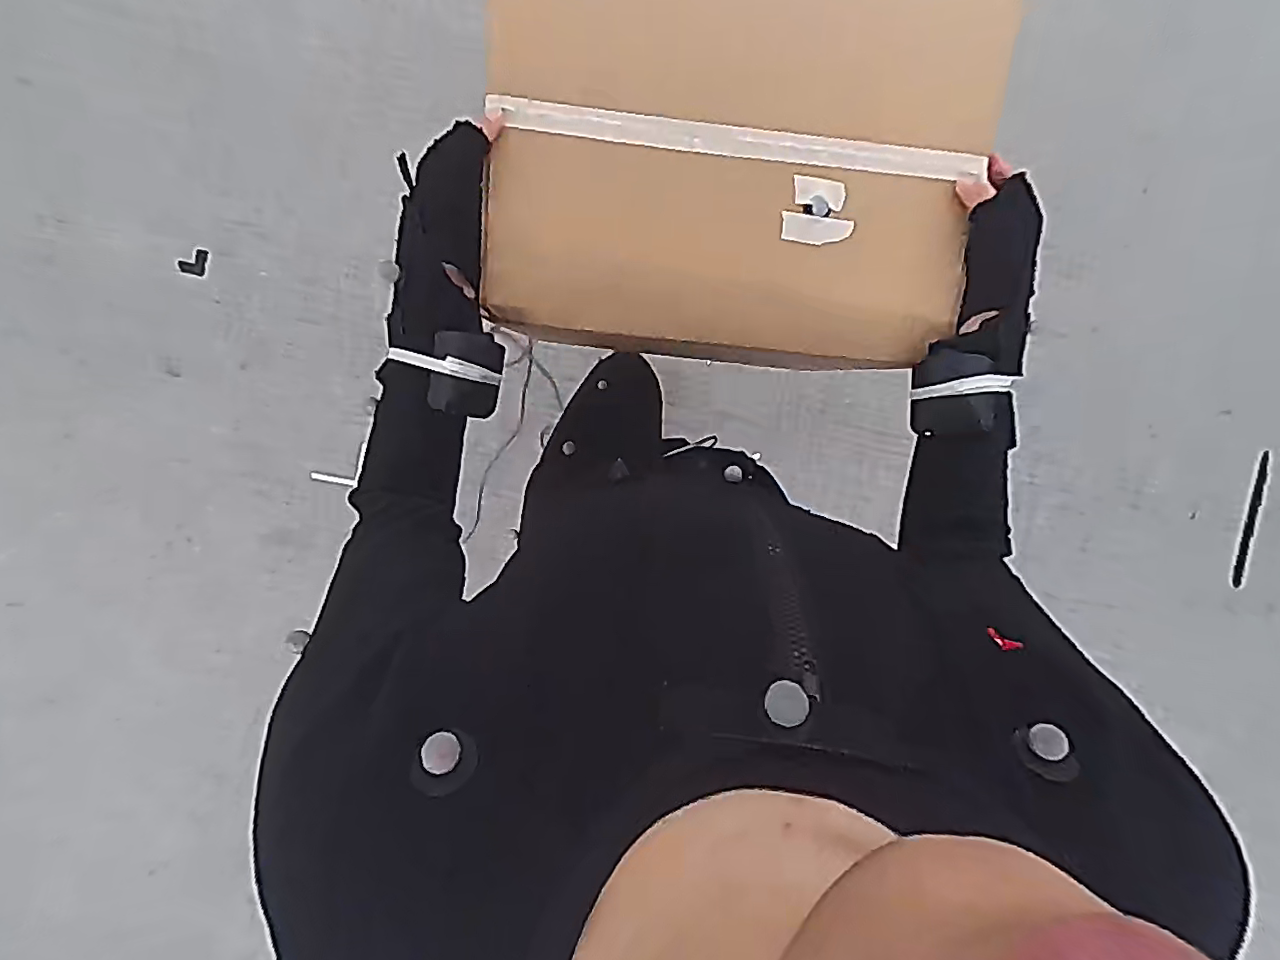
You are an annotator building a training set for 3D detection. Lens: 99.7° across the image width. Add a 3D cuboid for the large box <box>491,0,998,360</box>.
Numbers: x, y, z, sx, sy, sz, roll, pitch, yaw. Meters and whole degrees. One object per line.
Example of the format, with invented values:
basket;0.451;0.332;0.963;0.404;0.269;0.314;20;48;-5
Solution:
large box;0.072;-0.309;0.592;0.408;0.320;0.320;5;102;-4
